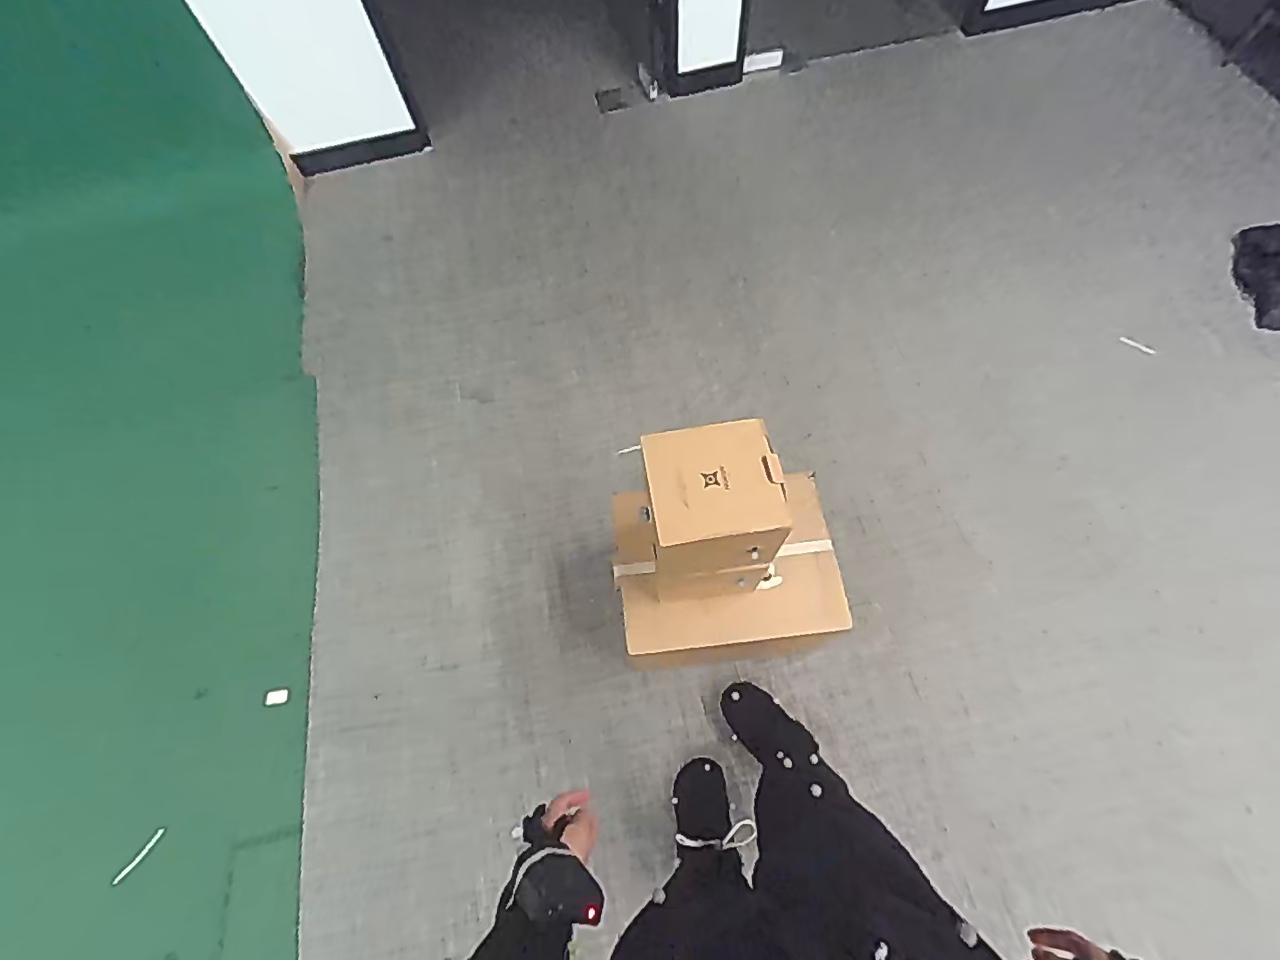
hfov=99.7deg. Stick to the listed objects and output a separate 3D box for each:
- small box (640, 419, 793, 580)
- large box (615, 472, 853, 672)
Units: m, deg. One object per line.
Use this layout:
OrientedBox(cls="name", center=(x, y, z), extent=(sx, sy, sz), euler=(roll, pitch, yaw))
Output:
OrientedBox(cls="small box", center=(0.101, 0.035, 0.787), extent=(0.179, 0.176, 0.168), euler=(-10, 64, 0))
OrientedBox(cls="large box", center=(0.171, 0.210, 1.151), extent=(0.408, 0.320, 0.320), euler=(-7, 66, 0))
